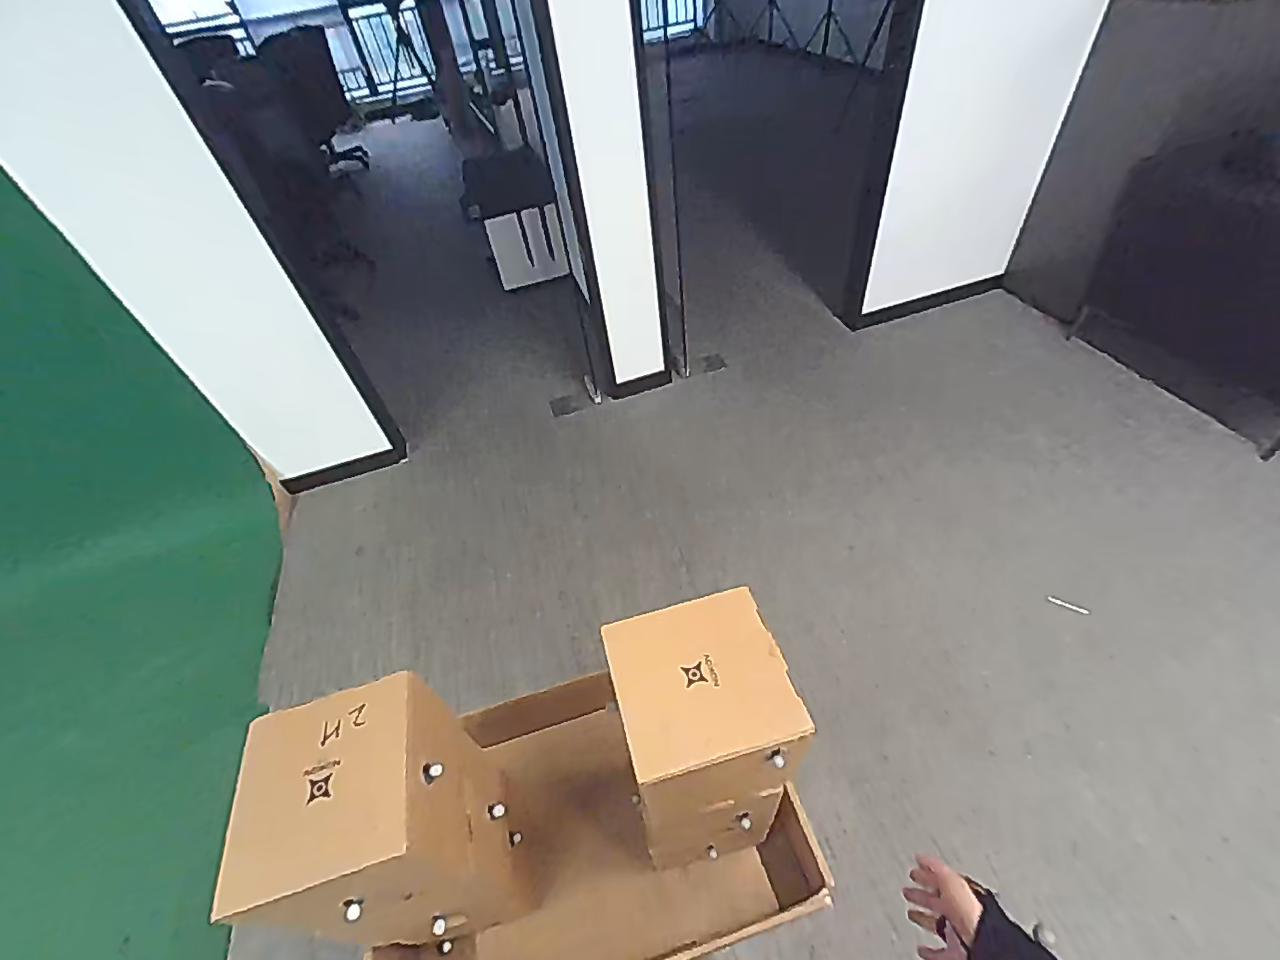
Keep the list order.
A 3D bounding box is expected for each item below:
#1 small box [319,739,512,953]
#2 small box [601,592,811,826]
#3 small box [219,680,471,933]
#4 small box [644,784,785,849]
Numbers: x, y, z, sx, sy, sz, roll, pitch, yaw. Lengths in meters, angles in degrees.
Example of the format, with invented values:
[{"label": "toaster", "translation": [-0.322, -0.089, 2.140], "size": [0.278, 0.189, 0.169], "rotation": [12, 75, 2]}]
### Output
[{"label": "small box", "translation": [-0.272, 0.467, 0.691], "size": [0.179, 0.176, 0.168], "rotation": [-17, 46, -8]}, {"label": "small box", "translation": [0.067, 0.259, 0.606], "size": [0.179, 0.176, 0.168], "rotation": [-14, 46, -7]}, {"label": "small box", "translation": [-0.289, 0.350, 0.575], "size": [0.168, 0.176, 0.179], "rotation": [-16, 46, -6]}, {"label": "small box", "translation": [0.082, 0.370, 0.723], "size": [0.168, 0.176, 0.179], "rotation": [-11, 45, -3]}]
